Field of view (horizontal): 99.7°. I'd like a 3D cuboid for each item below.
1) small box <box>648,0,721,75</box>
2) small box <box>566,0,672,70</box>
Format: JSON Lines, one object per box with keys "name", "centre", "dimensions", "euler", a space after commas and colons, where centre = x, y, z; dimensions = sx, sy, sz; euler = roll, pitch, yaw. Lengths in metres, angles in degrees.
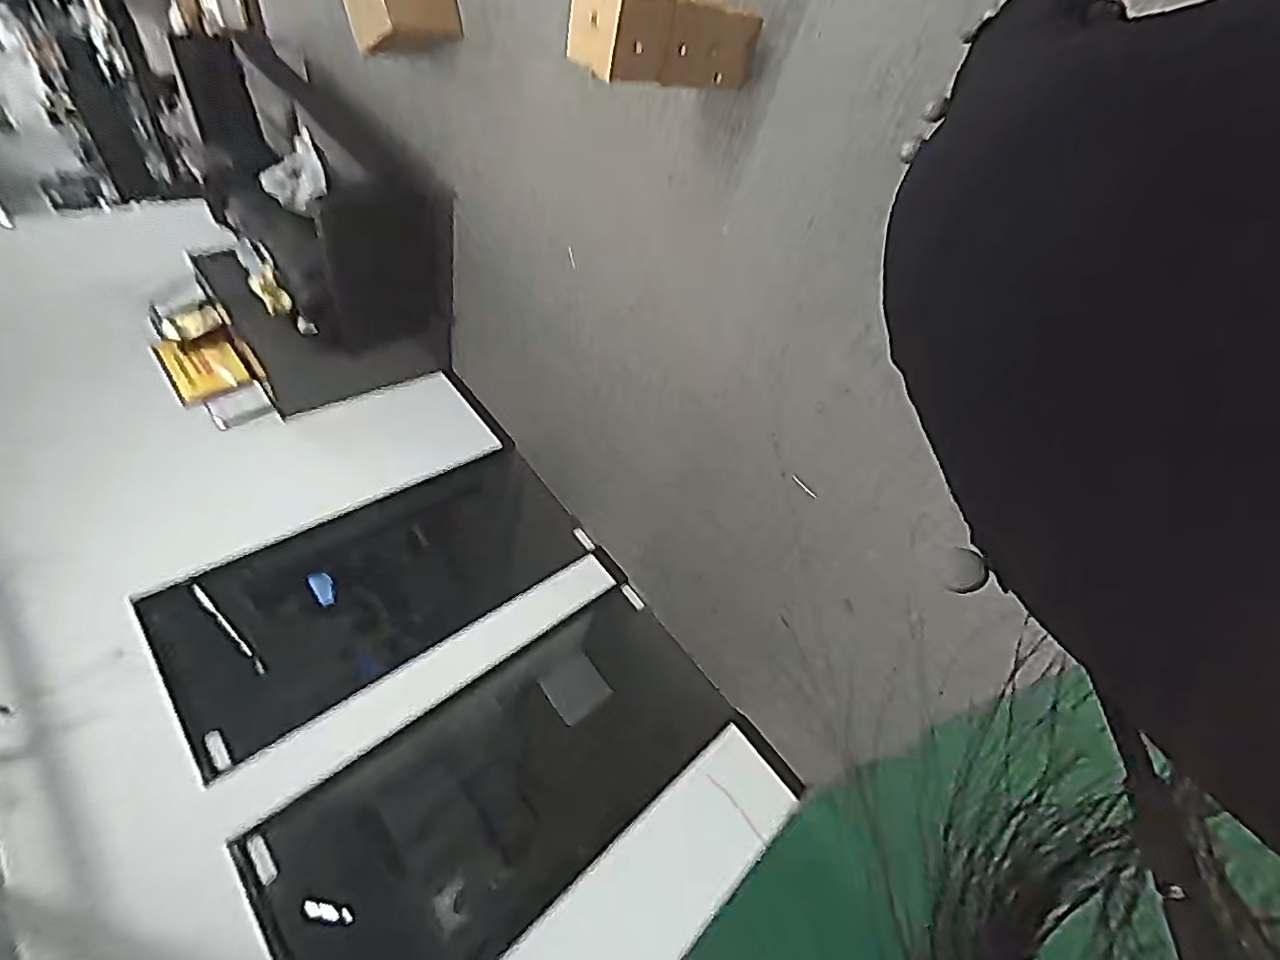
{"name": "small box", "centre": [0.075, -1.139, 1.344], "dimensions": [0.168, 0.176, 0.179], "euler": [46, 142, 20]}
{"name": "small box", "centre": [-0.047, -1.082, 1.250], "dimensions": [0.168, 0.176, 0.179], "euler": [46, 143, 21]}
